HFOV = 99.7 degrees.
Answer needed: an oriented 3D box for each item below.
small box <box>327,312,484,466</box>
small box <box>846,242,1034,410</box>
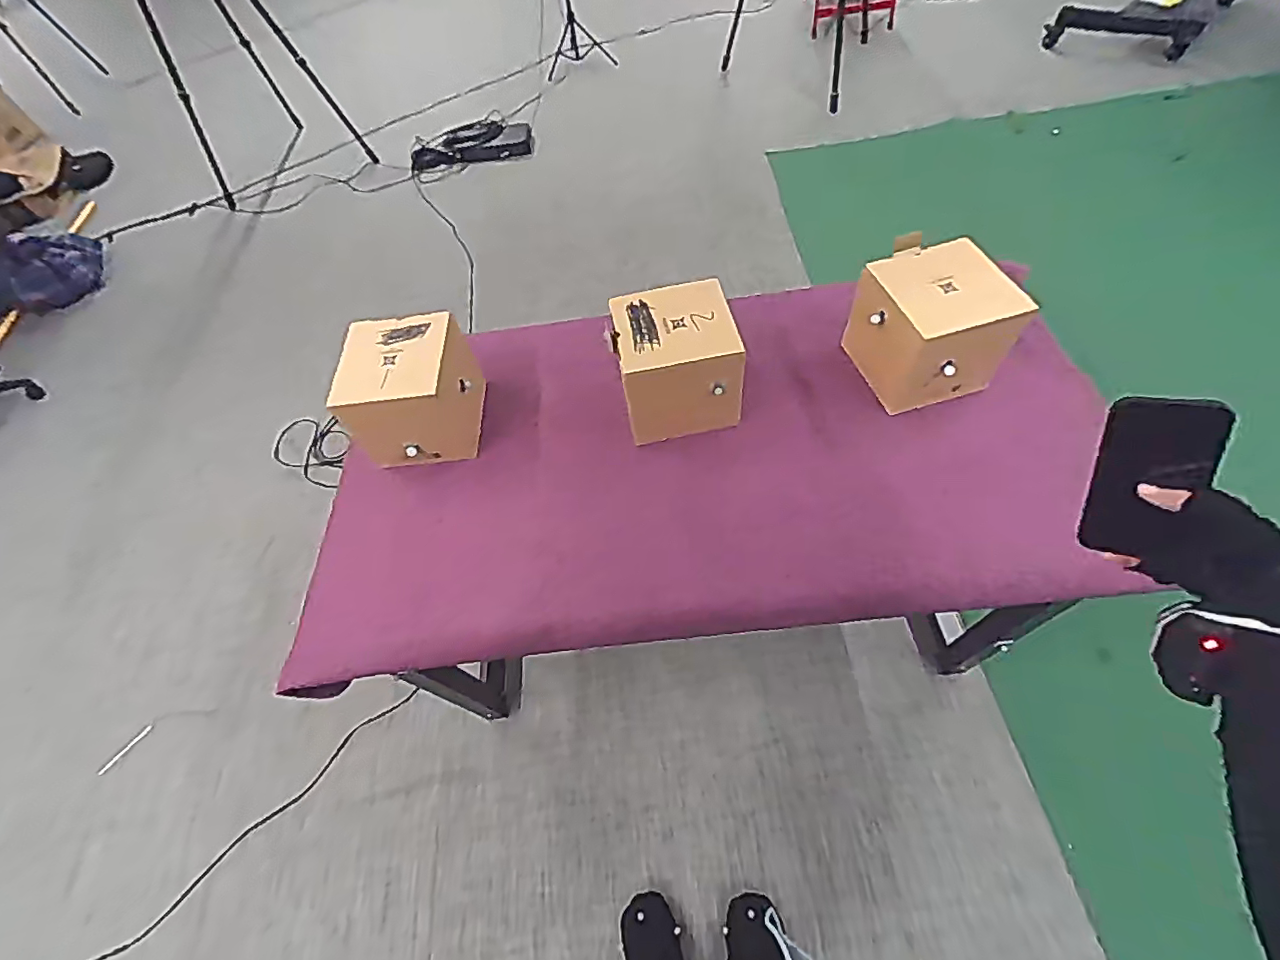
[{"bbox_3d":[-0.364,-0.144,0.879,0.168,0.176,0.179,-6,59,3],"label":"small box"},{"bbox_3d":[0.445,-0.228,0.836,0.168,0.176,0.179,-15,57,-2],"label":"small box"}]
